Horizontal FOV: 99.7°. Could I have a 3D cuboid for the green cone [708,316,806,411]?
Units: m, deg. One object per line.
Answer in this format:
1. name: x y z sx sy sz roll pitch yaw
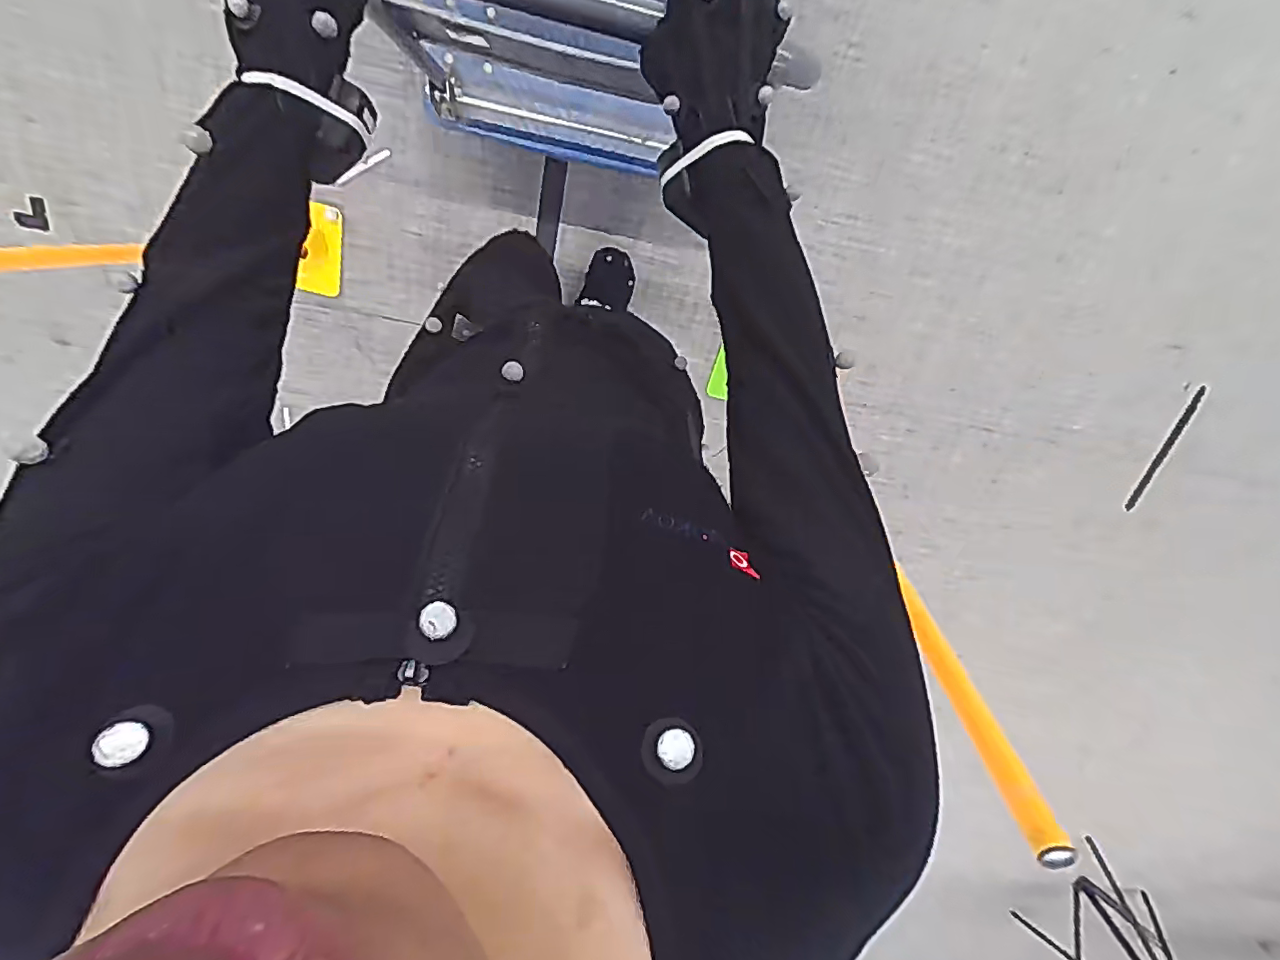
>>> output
1. green cone: 0.305 -0.236 1.268 0.202 0.368 0.200 13 115 -10
